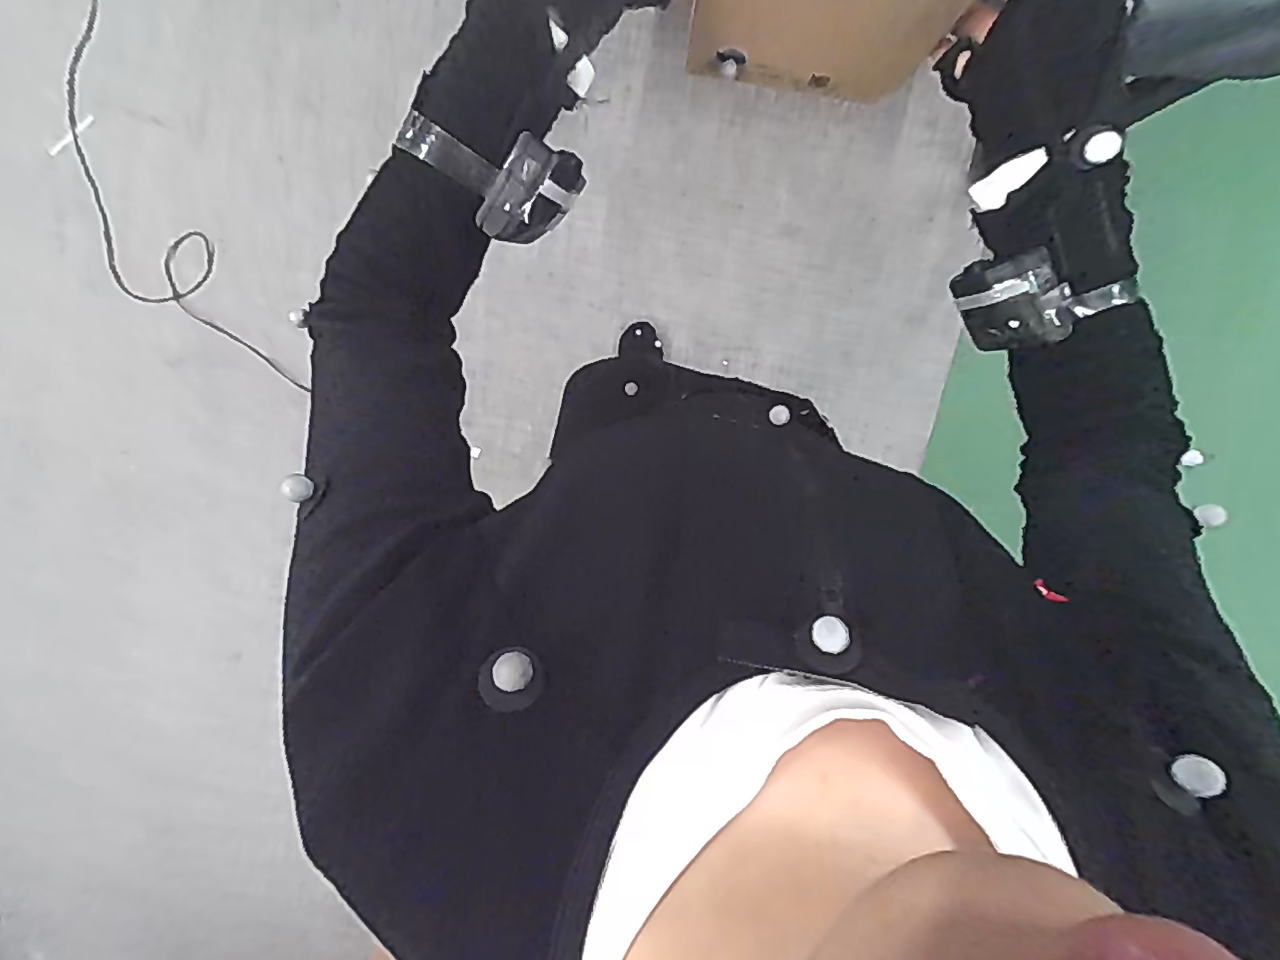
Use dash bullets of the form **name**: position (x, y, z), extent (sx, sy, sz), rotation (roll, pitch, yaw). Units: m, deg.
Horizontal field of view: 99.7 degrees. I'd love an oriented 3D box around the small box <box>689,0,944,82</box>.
- **small box**: position (0.128, -0.393, 0.337), extent (0.168, 0.176, 0.179), rotation (8, 99, -3)
